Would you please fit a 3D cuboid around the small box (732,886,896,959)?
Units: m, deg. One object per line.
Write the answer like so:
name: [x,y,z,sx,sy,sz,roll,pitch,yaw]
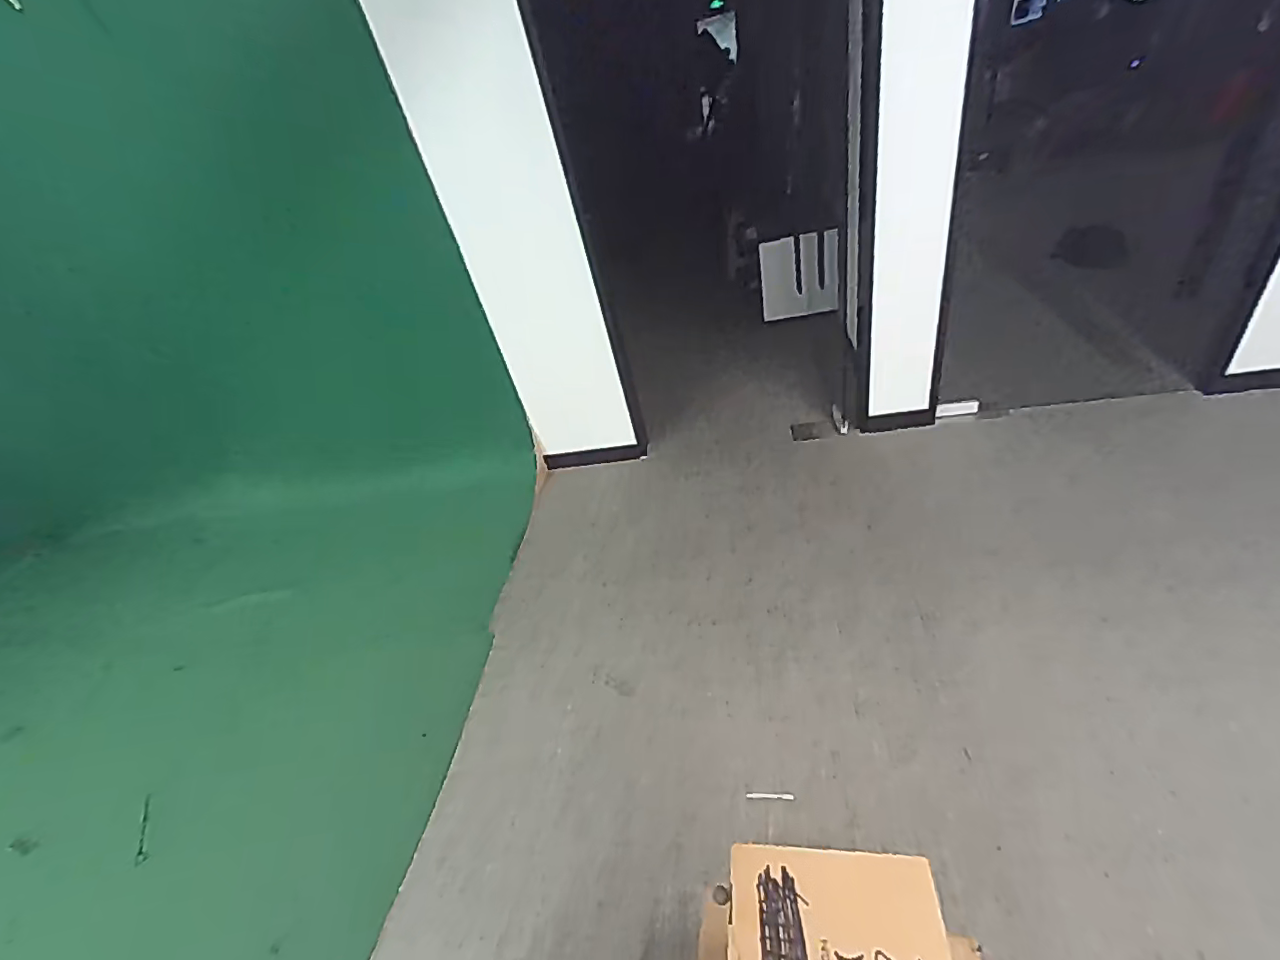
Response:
small box: [0.186,0.578,0.578,0.168,0.176,0.179,-1,37,14]
